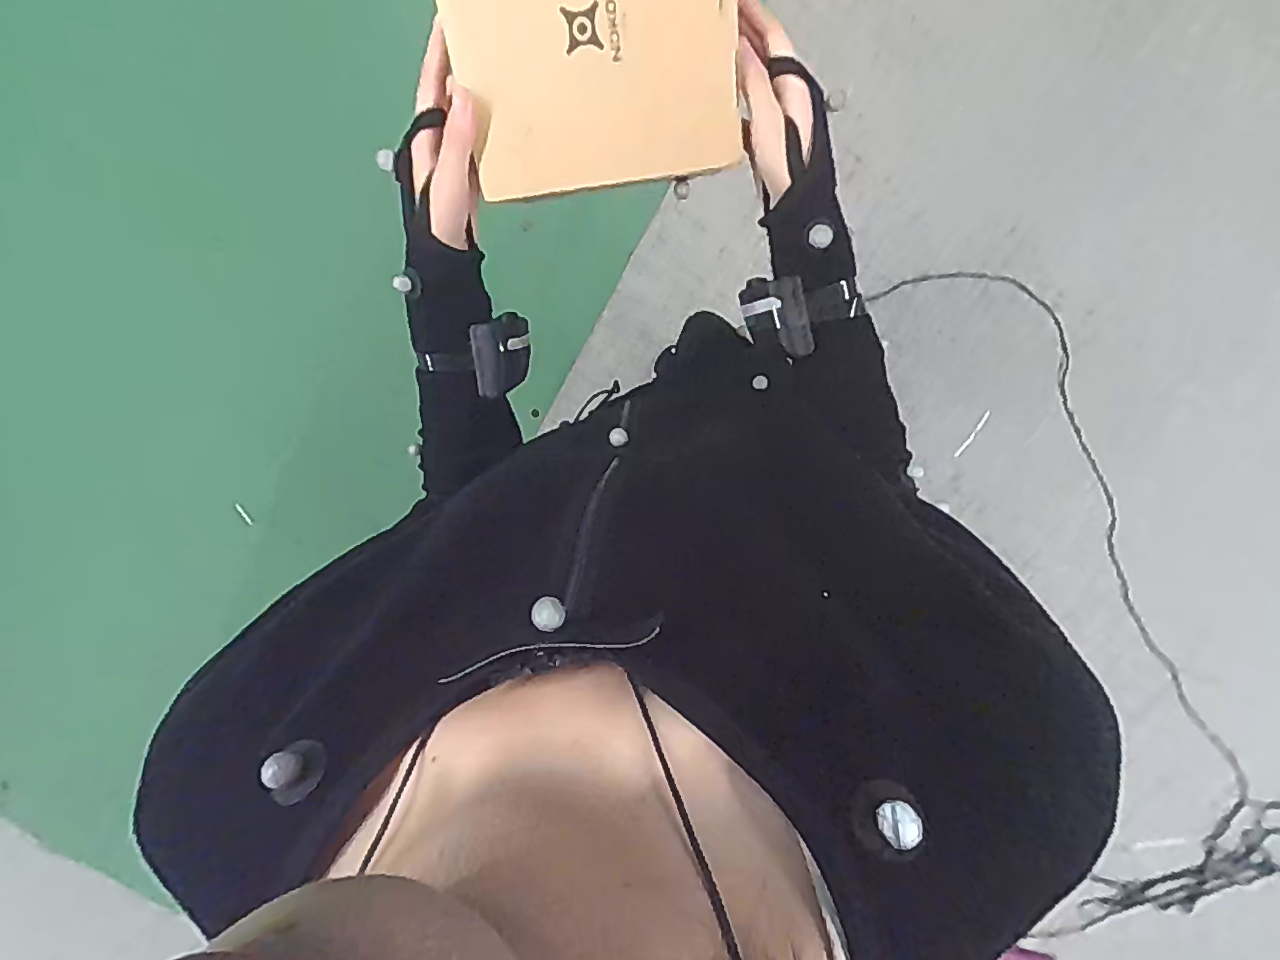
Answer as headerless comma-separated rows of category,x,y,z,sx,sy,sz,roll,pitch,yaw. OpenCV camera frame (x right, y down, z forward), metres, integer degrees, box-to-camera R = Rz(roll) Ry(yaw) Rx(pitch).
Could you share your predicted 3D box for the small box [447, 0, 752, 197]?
small box,-0.024,-0.304,0.385,0.179,0.176,0.168,-7,117,3
